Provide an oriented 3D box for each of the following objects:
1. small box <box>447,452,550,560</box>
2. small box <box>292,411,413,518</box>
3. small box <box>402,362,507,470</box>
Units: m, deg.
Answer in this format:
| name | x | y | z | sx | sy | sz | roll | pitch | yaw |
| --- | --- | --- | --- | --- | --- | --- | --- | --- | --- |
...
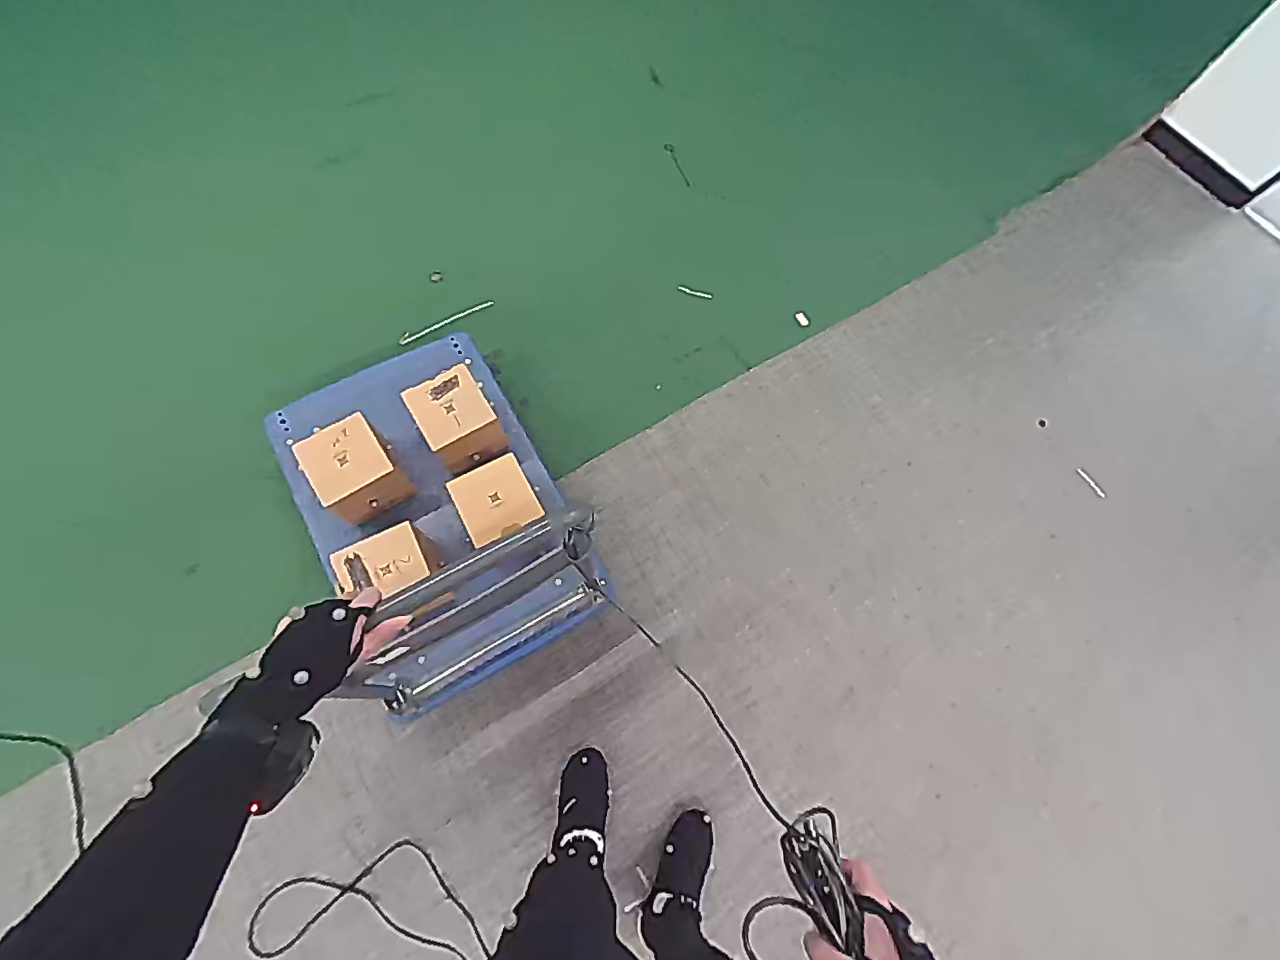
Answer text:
| name | x | y | z | sx | sy | sz | roll | pitch | yaw |
| --- | --- | --- | --- | --- | --- | --- | --- | --- | --- |
| small box | -0.325 | 0.066 | 1.269 | 0.168 | 0.176 | 0.179 | -27 | 76 | -13 |
| small box | -0.666 | -0.026 | 1.275 | 0.168 | 0.176 | 0.179 | -32 | 76 | -14 |
| small box | -0.449 | -0.151 | 1.332 | 0.168 | 0.176 | 0.179 | -30 | 77 | -12 |
